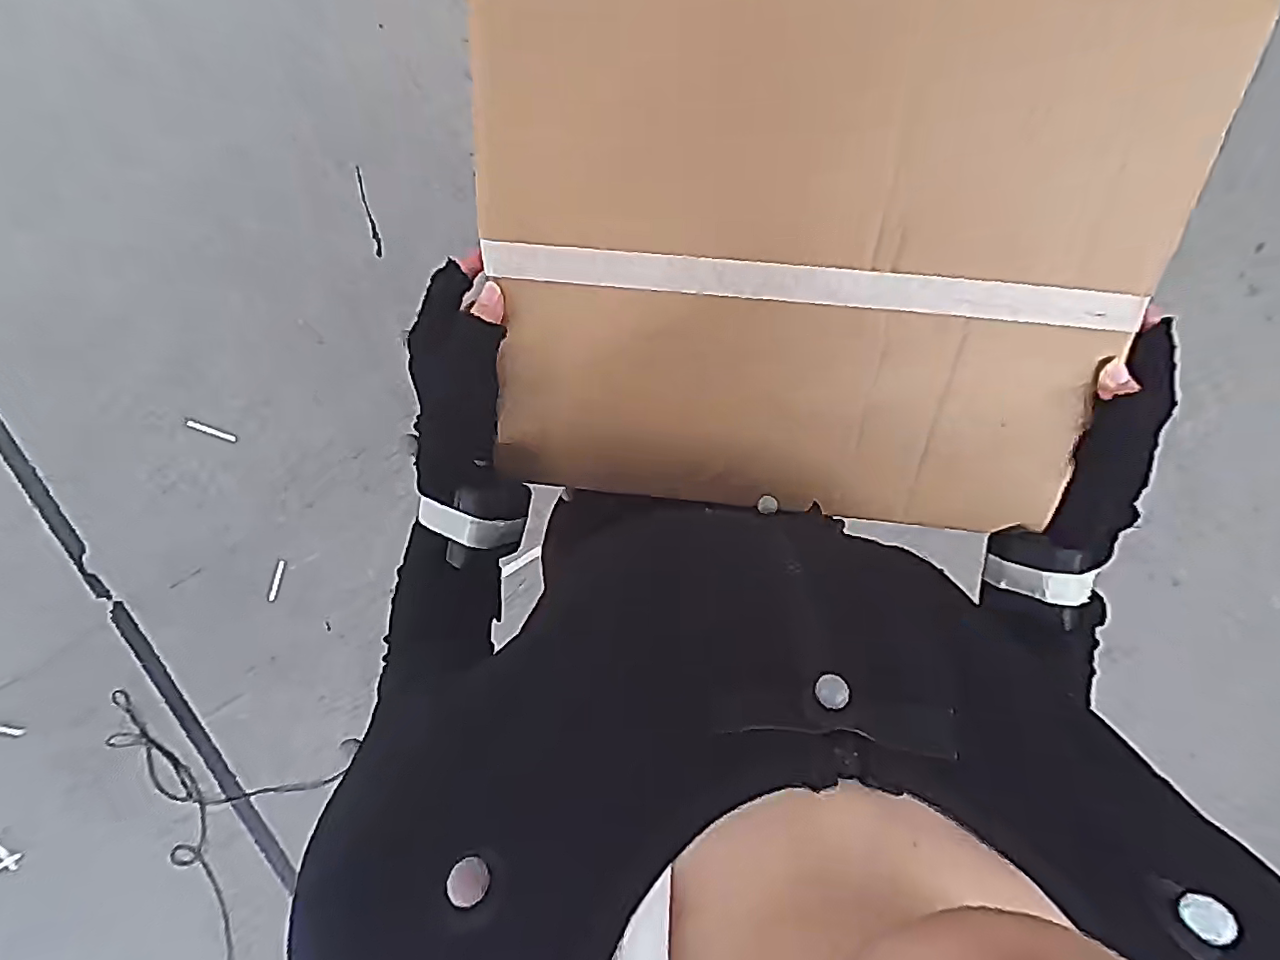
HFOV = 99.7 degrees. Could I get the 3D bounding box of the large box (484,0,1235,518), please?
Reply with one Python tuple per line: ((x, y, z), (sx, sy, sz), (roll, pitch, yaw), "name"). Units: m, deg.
((0.110, -0.188, 0.483), (0.408, 0.320, 0.320), (6, 117, 1), "large box")
